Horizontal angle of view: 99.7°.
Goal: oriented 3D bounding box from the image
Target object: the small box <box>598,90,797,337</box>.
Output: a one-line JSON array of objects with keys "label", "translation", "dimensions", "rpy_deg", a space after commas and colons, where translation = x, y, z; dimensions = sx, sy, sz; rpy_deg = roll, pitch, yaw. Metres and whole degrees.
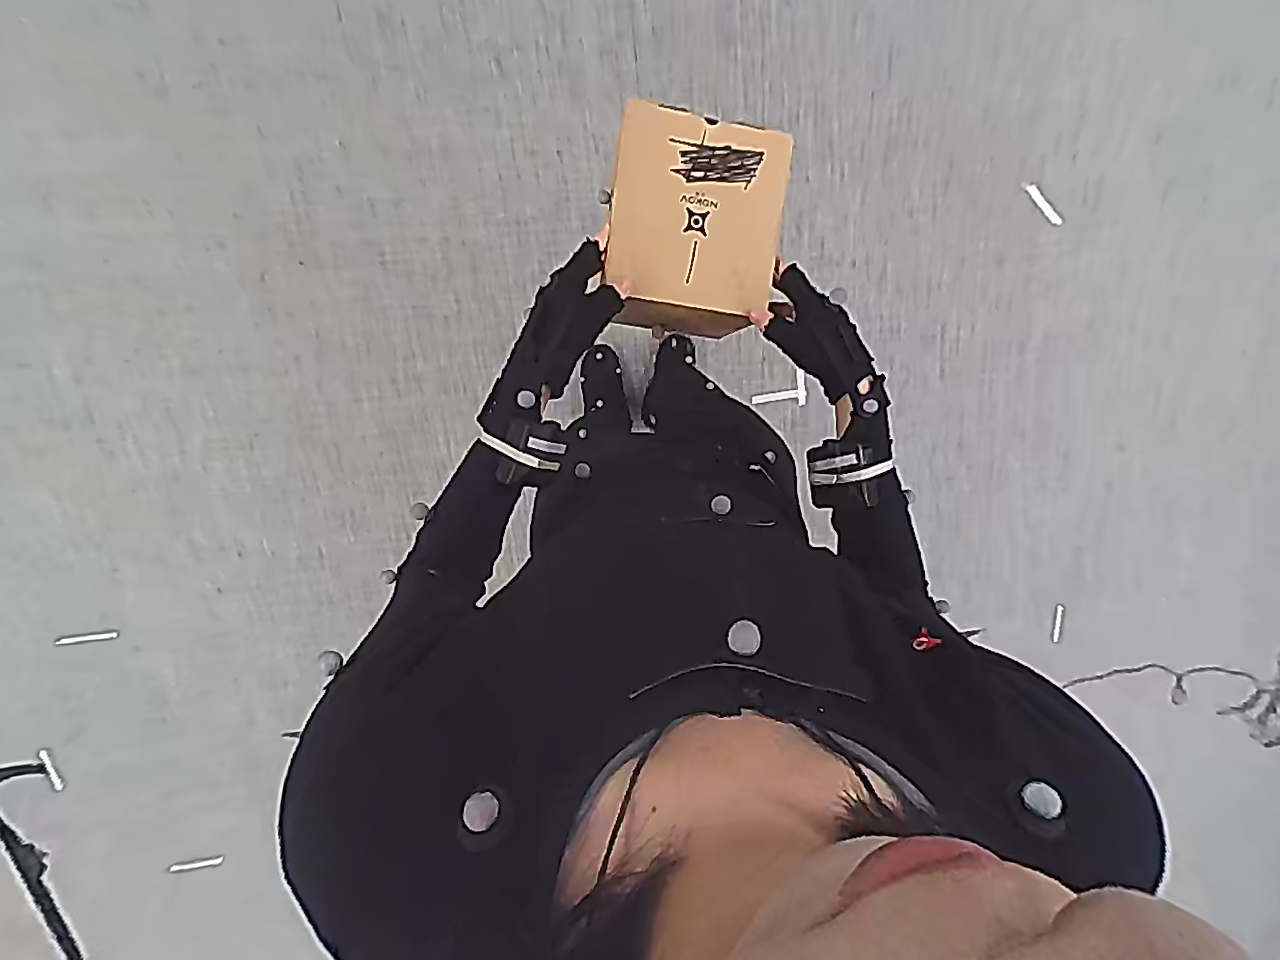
[{"label": "small box", "translation": [0.047, -0.264, 0.581], "dimensions": [0.168, 0.176, 0.179], "rpy_deg": [7, 97, -8]}]
